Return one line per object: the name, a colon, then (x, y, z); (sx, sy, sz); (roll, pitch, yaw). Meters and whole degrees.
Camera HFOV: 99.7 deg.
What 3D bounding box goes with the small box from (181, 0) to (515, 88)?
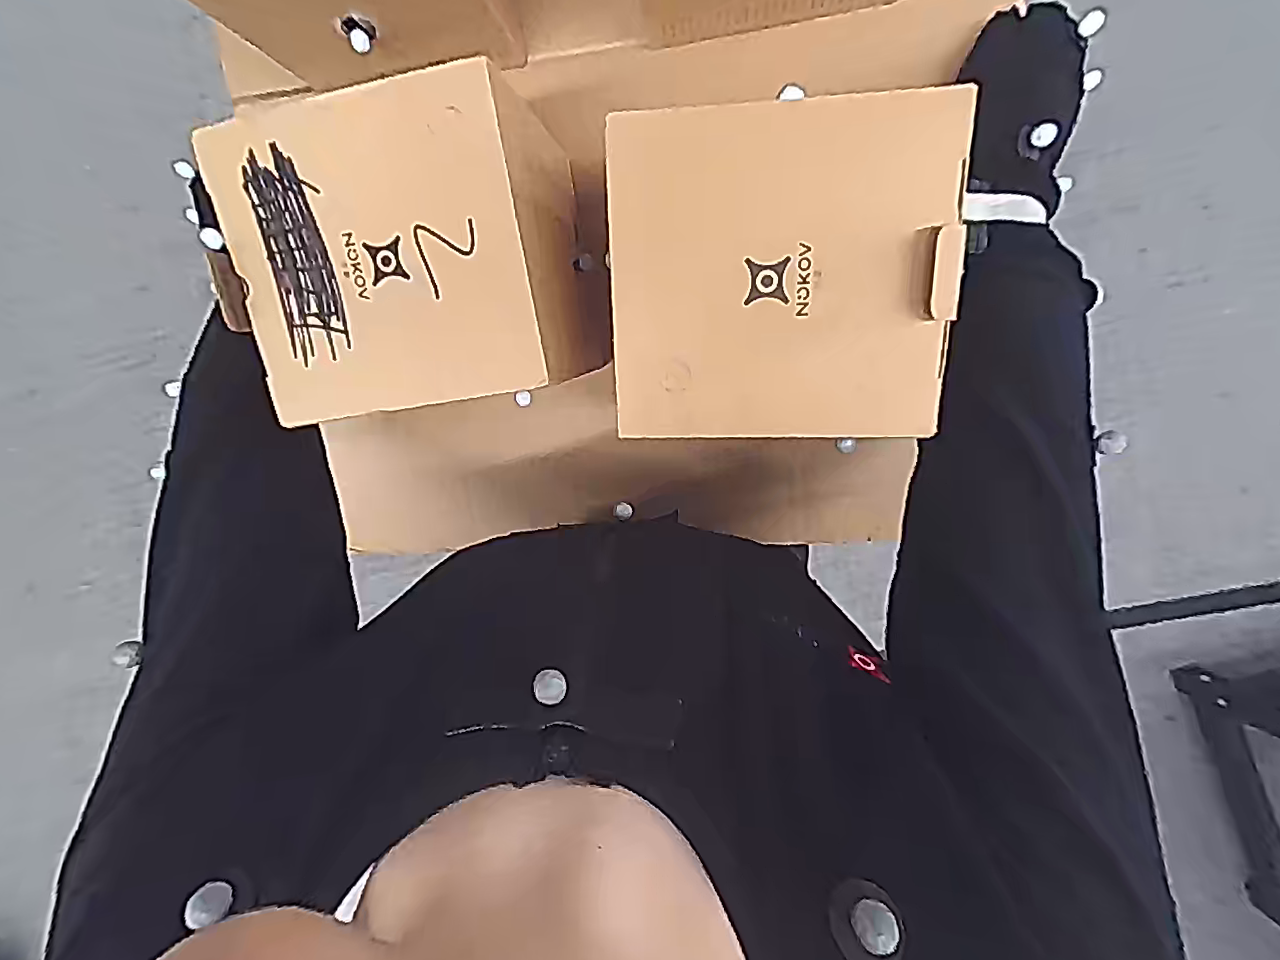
small box: (-0.189, -0.378, 0.334); (0.168, 0.176, 0.179); (-4, 101, 8)
